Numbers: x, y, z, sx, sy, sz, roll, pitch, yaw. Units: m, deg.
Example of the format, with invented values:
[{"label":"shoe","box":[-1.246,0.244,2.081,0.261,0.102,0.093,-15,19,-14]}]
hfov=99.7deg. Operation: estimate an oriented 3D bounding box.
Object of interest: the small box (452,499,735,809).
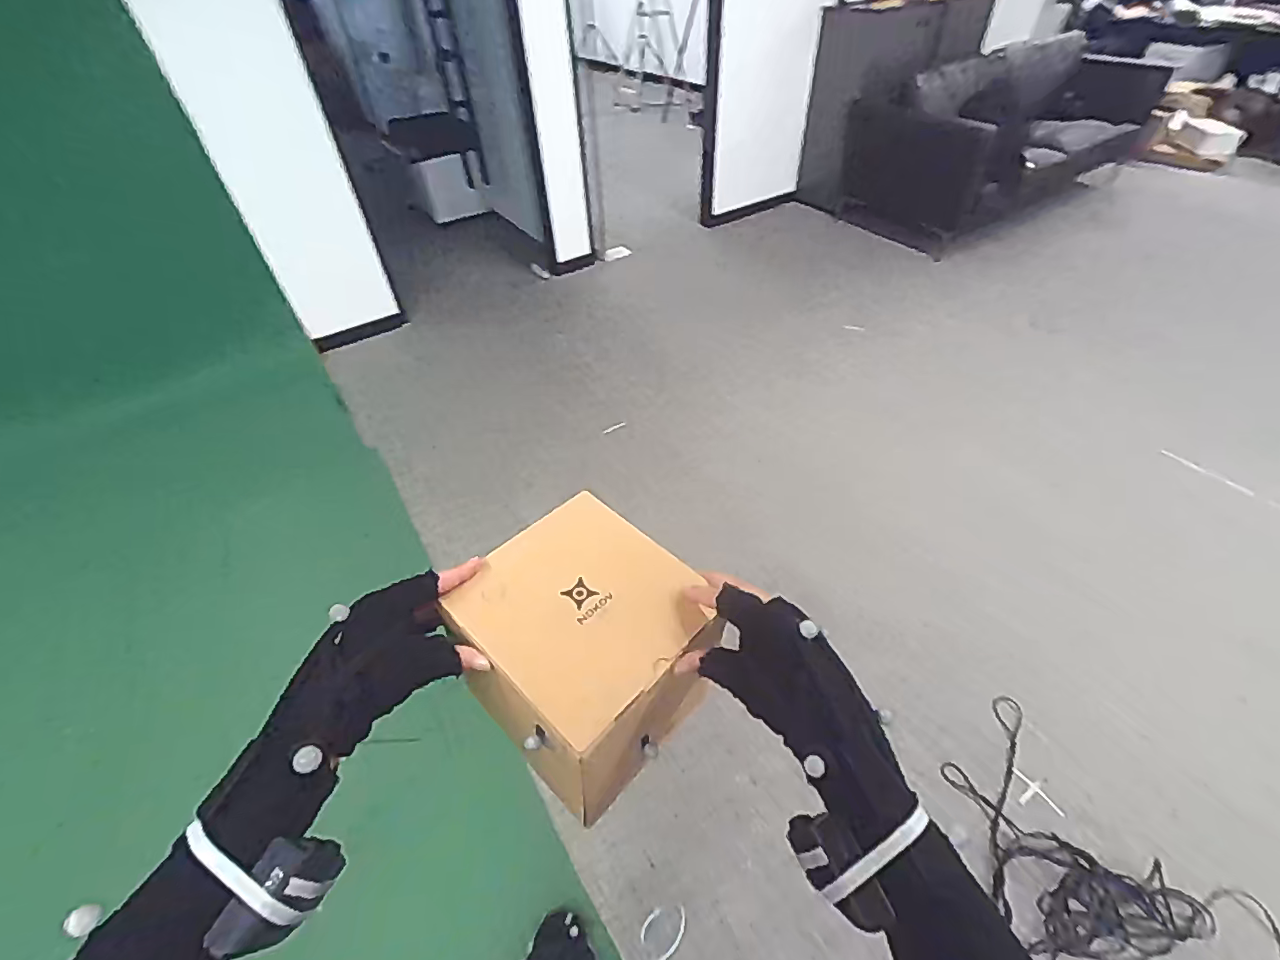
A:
[{"label":"small box","box":[-0.043,0.155,0.494,0.179,0.176,0.168,35,51,28]}]
